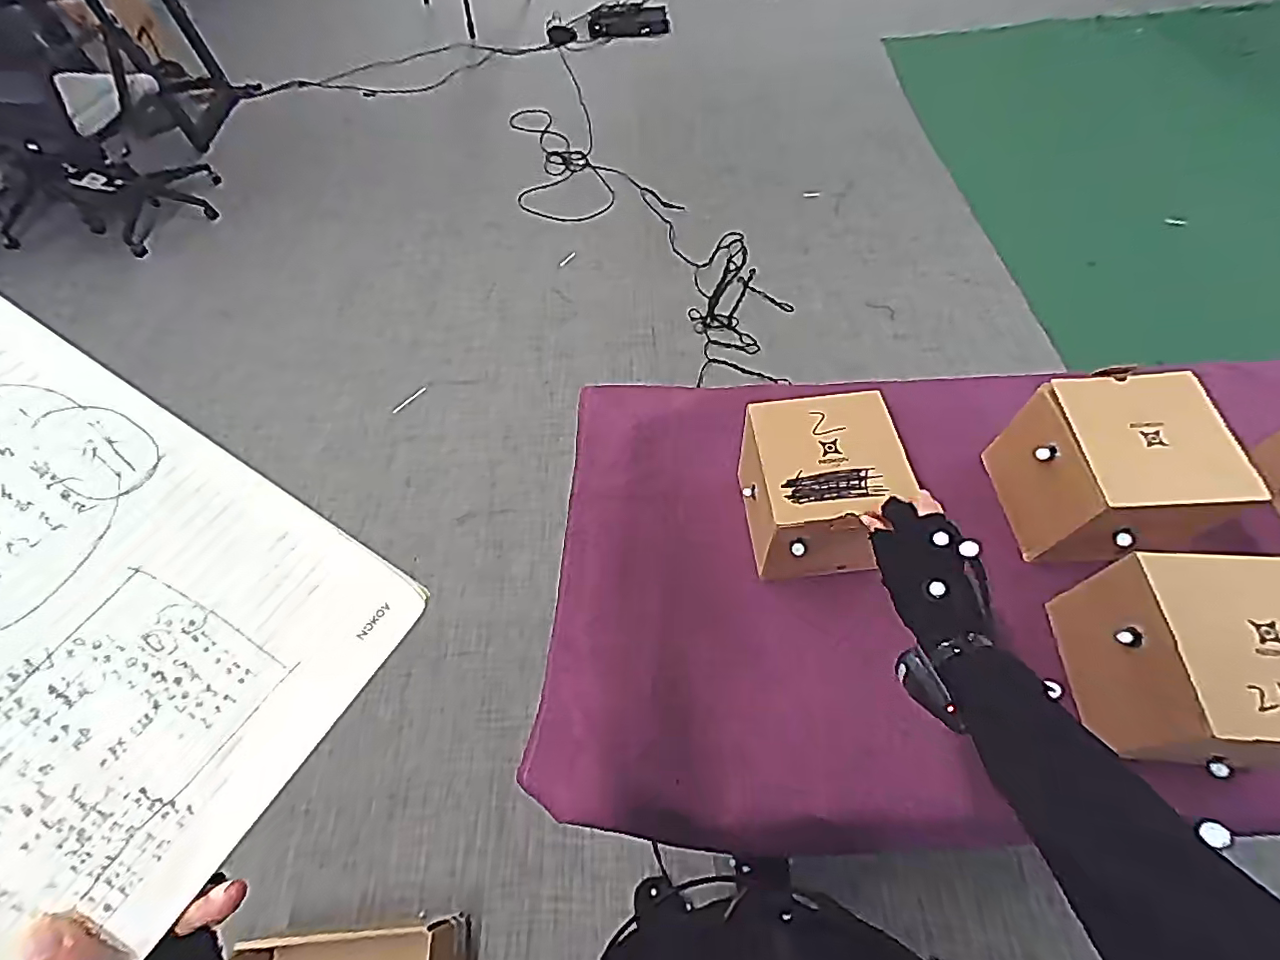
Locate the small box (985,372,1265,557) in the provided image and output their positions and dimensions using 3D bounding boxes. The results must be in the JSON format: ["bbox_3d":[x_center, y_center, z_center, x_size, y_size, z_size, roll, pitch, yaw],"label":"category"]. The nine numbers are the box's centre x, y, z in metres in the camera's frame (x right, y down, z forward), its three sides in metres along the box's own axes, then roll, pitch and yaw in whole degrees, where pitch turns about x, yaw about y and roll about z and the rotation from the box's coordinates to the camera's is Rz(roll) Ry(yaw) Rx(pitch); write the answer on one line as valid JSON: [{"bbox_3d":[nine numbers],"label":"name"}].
[{"bbox_3d":[0.578,-0.010,0.680,0.168,0.176,0.179,-3,58,3],"label":"small box"}]

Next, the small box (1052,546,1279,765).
[{"bbox_3d":[0.576,0.185,0.560,0.168,0.176,0.179,1,59,7],"label":"small box"}]
